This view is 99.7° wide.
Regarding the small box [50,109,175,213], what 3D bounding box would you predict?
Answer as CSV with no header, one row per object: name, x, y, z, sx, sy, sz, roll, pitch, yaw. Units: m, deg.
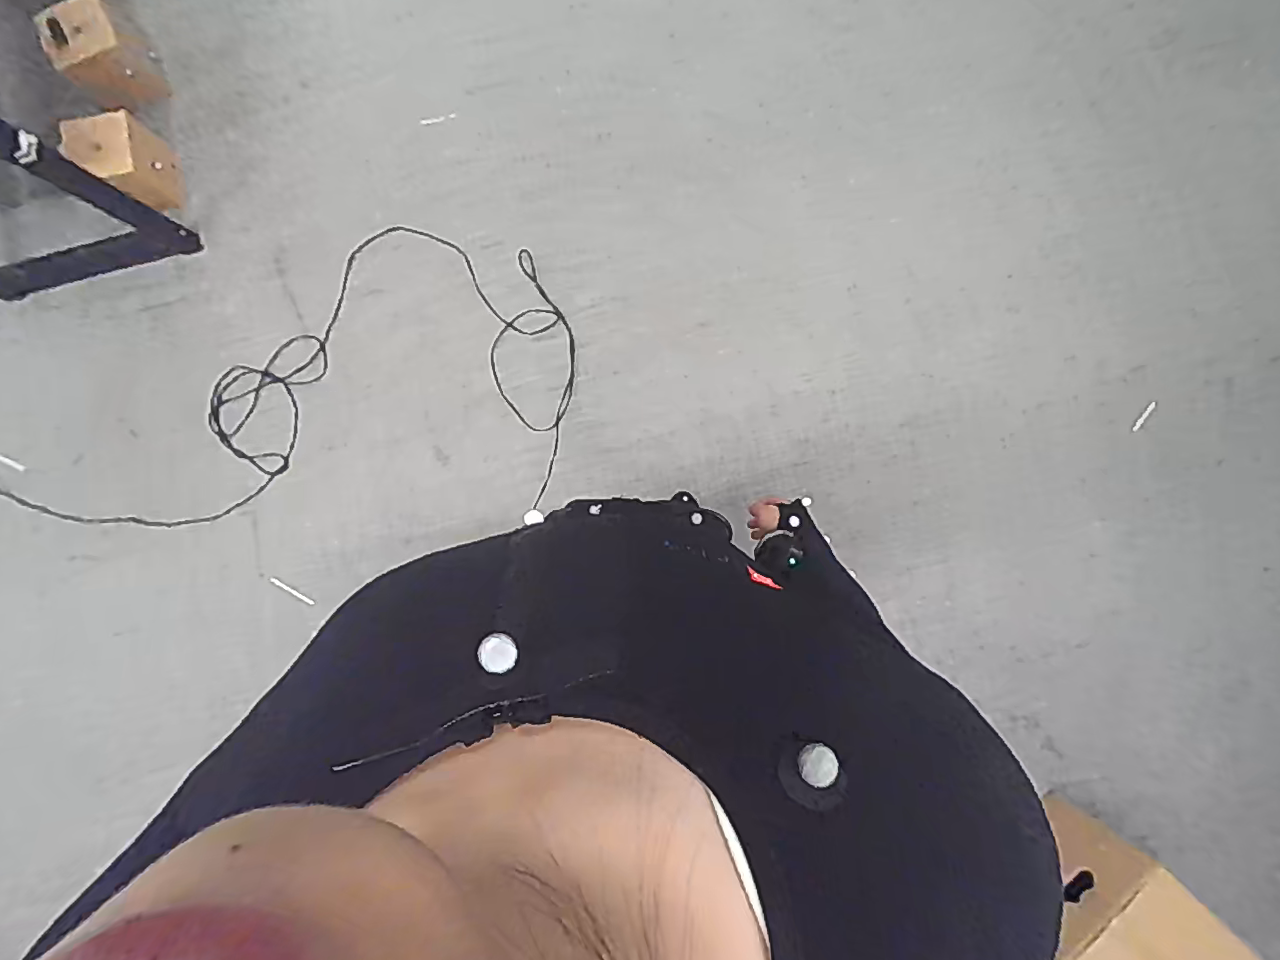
small box,-1.399,-0.846,1.450,0.179,0.176,0.168,-10,89,0
